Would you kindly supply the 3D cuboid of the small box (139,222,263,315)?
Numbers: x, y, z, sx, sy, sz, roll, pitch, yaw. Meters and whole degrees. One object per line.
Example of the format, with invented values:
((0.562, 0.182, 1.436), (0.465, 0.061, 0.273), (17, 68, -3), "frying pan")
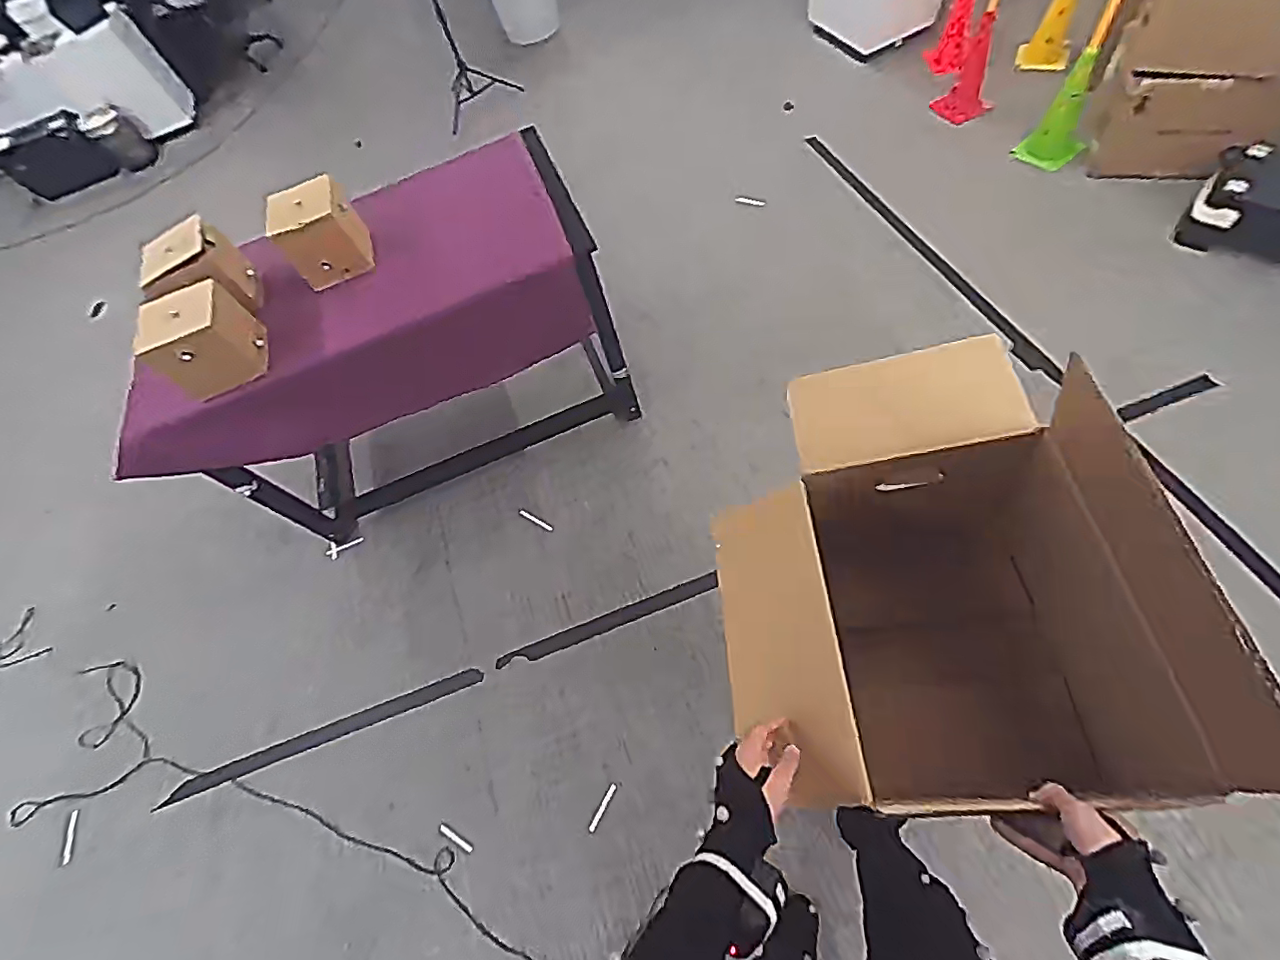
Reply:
((-1.096, -0.502, 1.362), (0.179, 0.176, 0.168), (-25, 61, -3), "small box")

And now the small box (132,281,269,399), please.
((-0.999, -0.315, 1.244), (0.179, 0.176, 0.168), (-23, 61, -2), "small box")
